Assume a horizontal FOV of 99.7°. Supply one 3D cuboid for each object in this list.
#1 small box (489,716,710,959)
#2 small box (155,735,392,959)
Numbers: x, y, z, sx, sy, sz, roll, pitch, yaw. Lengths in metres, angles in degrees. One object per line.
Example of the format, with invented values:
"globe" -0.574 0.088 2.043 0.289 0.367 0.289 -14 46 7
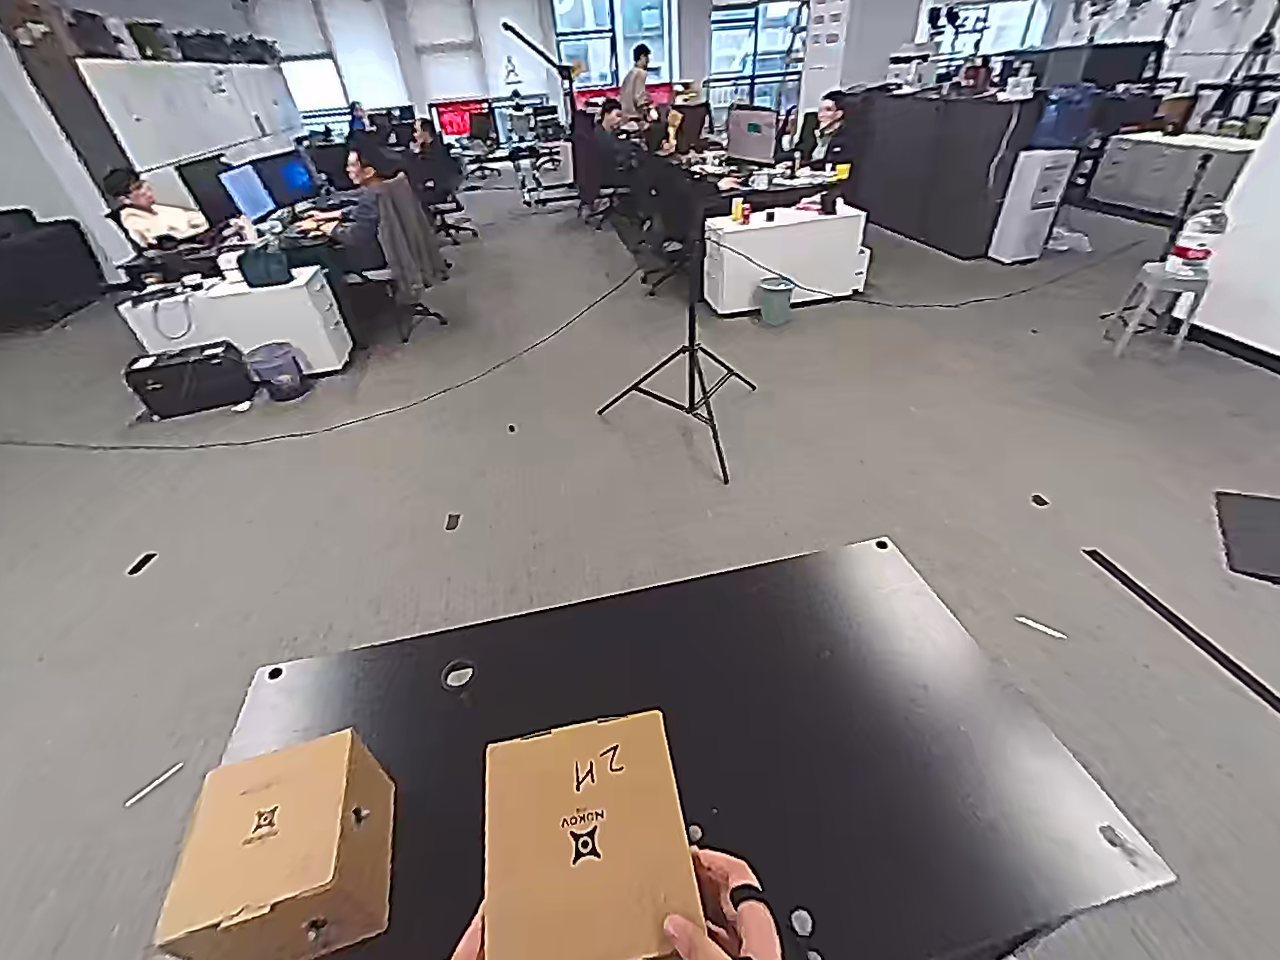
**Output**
"small box" -0.036 0.350 0.501 0.168 0.176 0.179 -9 45 -5
"small box" -0.410 0.450 0.646 0.168 0.176 0.179 -13 37 -13
